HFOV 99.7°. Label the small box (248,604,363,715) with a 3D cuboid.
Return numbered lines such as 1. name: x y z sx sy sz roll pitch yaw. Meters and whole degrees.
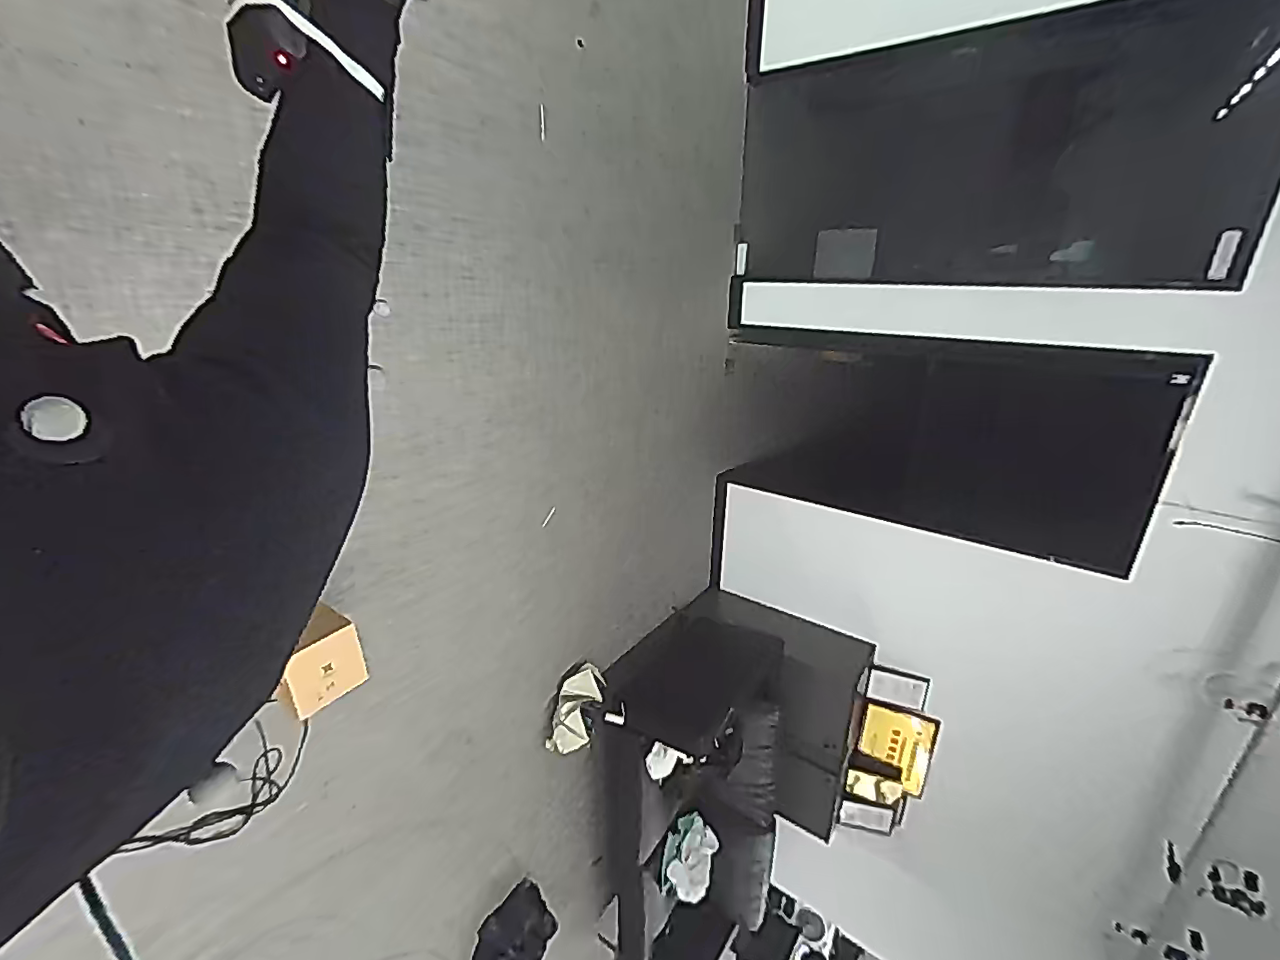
1. small box: -0.810 0.421 1.311 0.168 0.176 0.179 -29 126 -49
